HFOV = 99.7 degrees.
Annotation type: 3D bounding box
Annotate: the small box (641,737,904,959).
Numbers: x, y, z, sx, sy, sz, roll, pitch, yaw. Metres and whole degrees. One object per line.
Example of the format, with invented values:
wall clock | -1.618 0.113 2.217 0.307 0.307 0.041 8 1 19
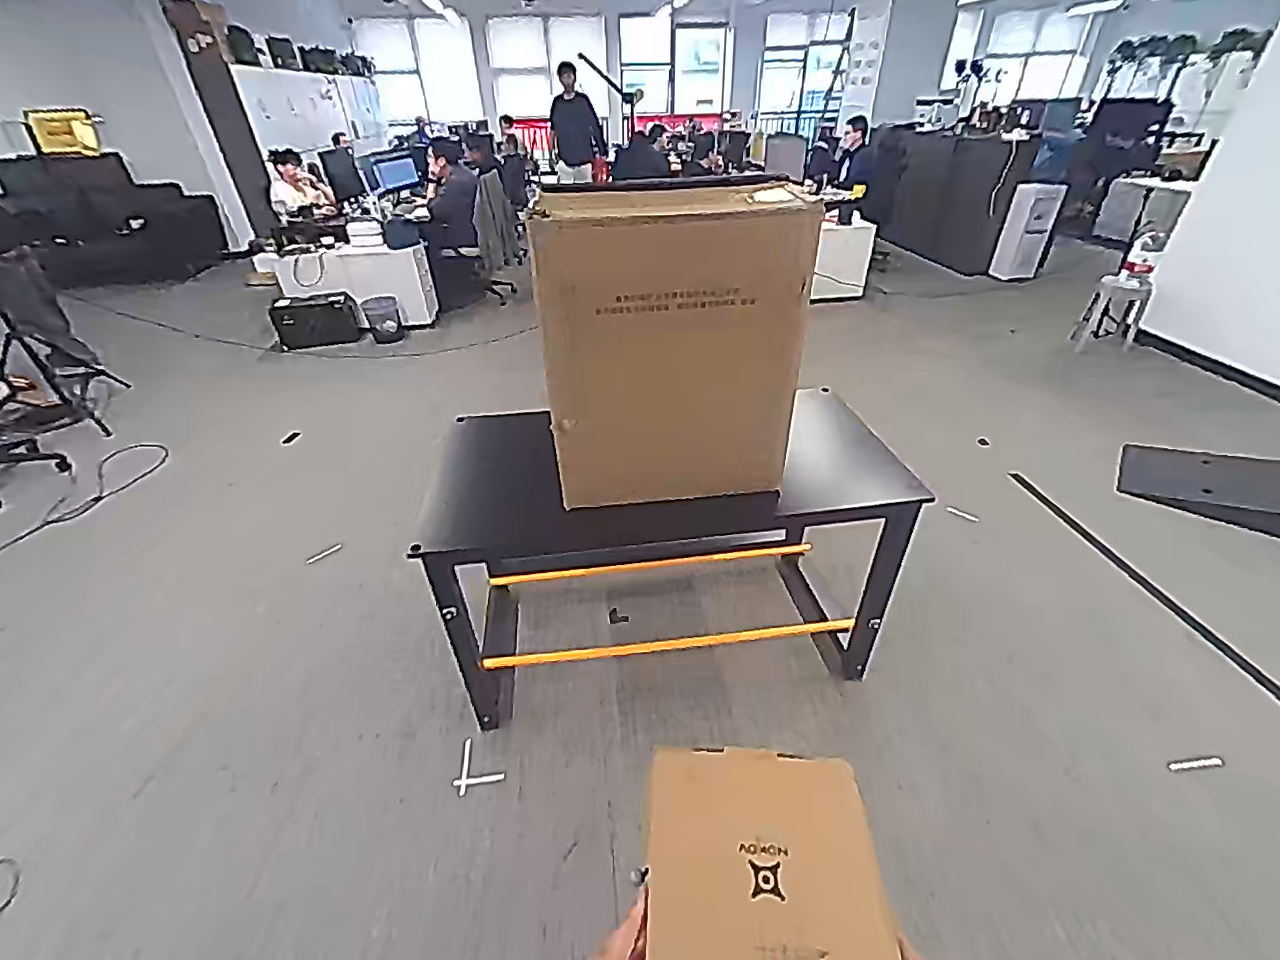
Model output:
small box | 0.088 0.340 0.435 0.168 0.176 0.179 4 36 2
